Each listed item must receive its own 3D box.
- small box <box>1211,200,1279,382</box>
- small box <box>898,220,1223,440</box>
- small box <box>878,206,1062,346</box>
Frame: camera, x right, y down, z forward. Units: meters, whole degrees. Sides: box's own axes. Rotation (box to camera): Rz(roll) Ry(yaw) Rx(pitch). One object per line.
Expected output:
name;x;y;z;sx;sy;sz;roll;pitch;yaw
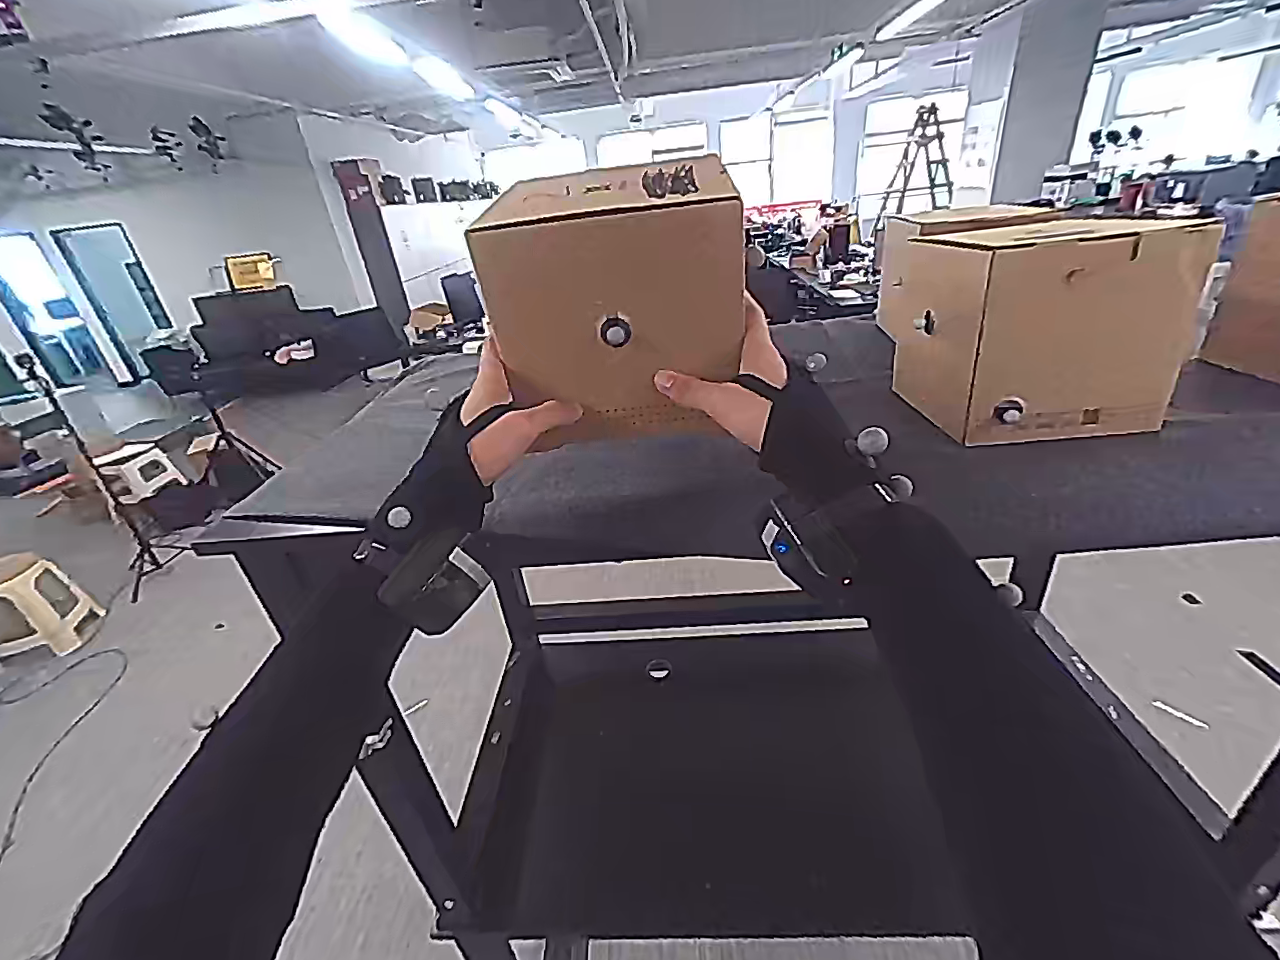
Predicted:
small box;0.703;-0.171;0.495;0.168;0.176;0.179;-5;27;5
small box;0.364;-0.142;0.514;0.168;0.176;0.179;-4;26;5
small box;0.454;-0.288;0.777;0.168;0.176;0.179;-1;28;9
